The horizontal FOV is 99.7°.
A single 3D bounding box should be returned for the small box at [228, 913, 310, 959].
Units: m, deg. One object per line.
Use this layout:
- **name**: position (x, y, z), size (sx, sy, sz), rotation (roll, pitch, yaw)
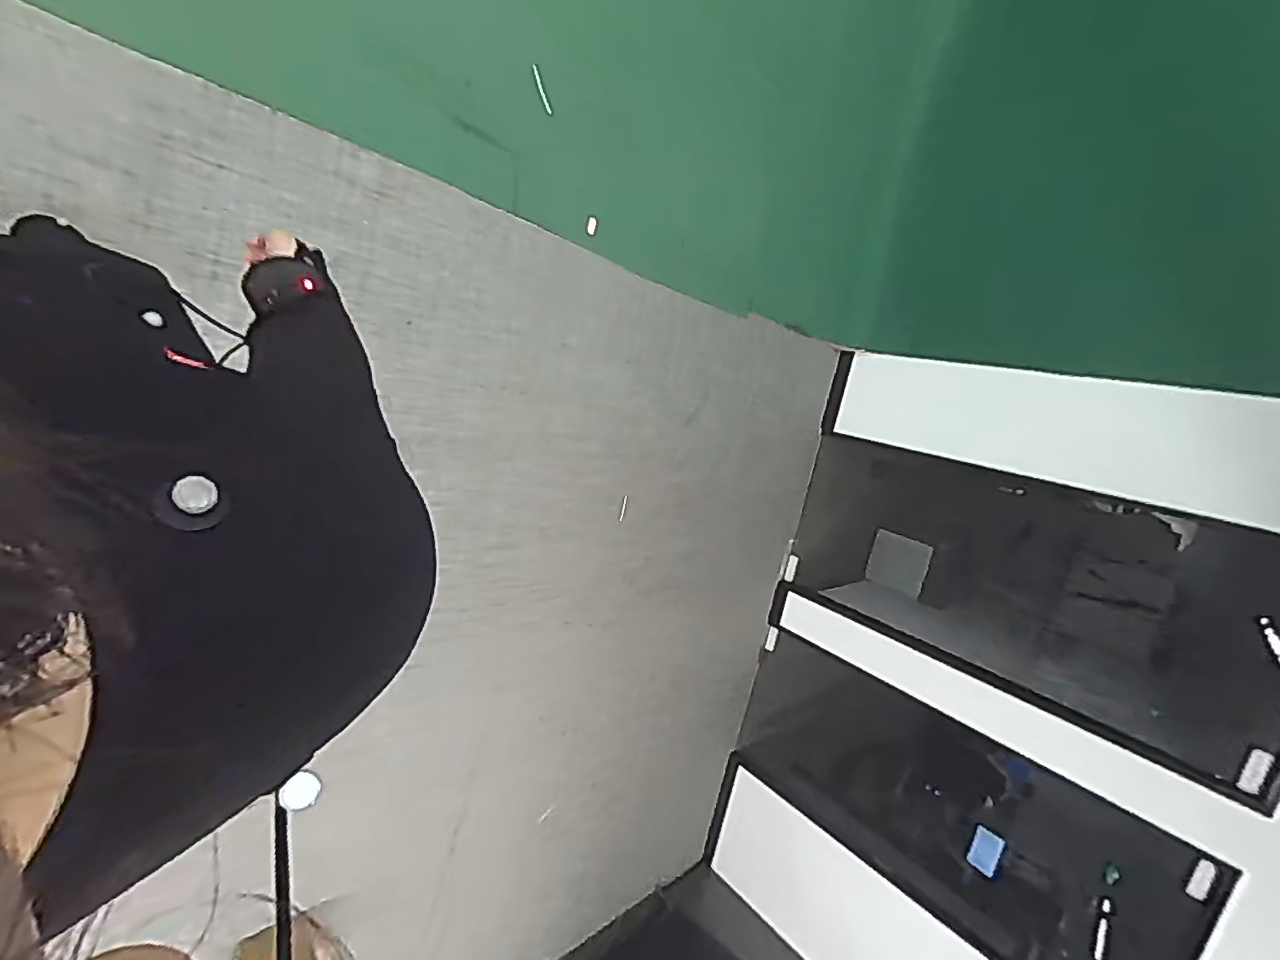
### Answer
- **small box**: position (-1.112, 1.455, 1.605), size (0.179, 0.176, 0.168), rotation (4, 103, -47)
